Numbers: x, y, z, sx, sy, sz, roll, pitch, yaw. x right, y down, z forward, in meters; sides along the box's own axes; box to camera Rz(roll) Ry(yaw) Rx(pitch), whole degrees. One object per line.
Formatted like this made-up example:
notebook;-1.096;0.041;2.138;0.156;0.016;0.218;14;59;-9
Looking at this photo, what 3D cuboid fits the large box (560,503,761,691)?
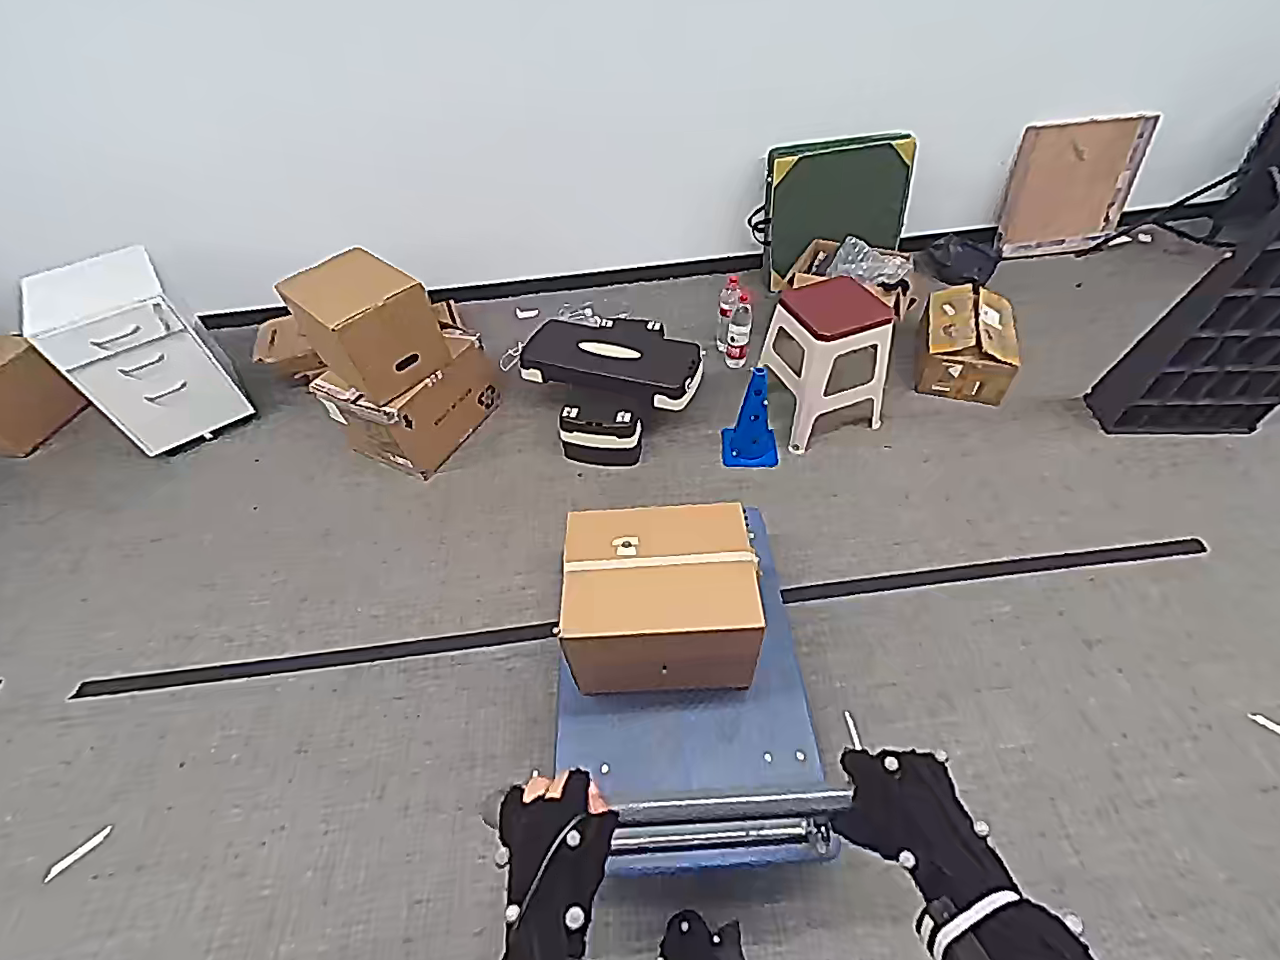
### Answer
large box;0.045;0.279;1.265;0.408;0.320;0.320;-4;48;2
